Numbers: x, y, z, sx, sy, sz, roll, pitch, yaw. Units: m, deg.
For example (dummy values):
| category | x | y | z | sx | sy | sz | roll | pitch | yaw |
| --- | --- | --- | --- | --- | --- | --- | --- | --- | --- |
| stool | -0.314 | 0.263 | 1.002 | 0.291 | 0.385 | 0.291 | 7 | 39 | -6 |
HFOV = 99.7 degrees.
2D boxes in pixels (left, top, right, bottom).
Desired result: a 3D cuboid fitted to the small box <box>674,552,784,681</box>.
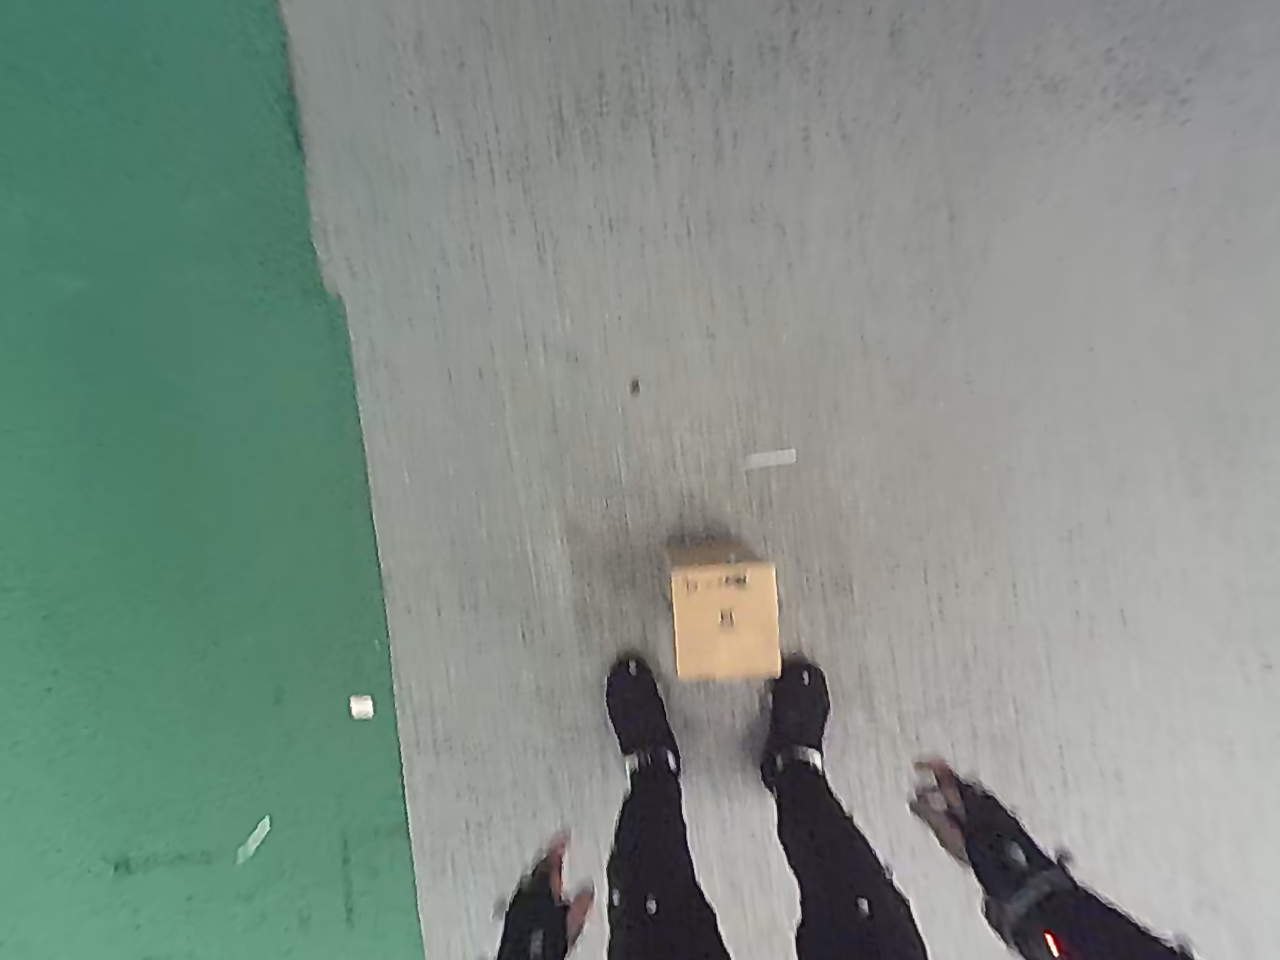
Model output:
| category | x | y | z | sx | sy | sz | roll | pitch | yaw |
| --- | --- | --- | --- | --- | --- | --- | --- | --- | --- |
| small box | 0.146 | 0.227 | 0.935 | 0.168 | 0.176 | 0.179 | -3 | 91 | 1 |

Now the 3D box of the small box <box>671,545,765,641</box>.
| category | x | y | z | sx | sy | sz | roll | pitch | yaw |
| --- | --- | --- | --- | --- | --- | --- | --- | --- | --- |
| small box | 0.153 | 0.224 | 1.098 | 0.179 | 0.176 | 0.168 | -3 | 90 | 1 |
